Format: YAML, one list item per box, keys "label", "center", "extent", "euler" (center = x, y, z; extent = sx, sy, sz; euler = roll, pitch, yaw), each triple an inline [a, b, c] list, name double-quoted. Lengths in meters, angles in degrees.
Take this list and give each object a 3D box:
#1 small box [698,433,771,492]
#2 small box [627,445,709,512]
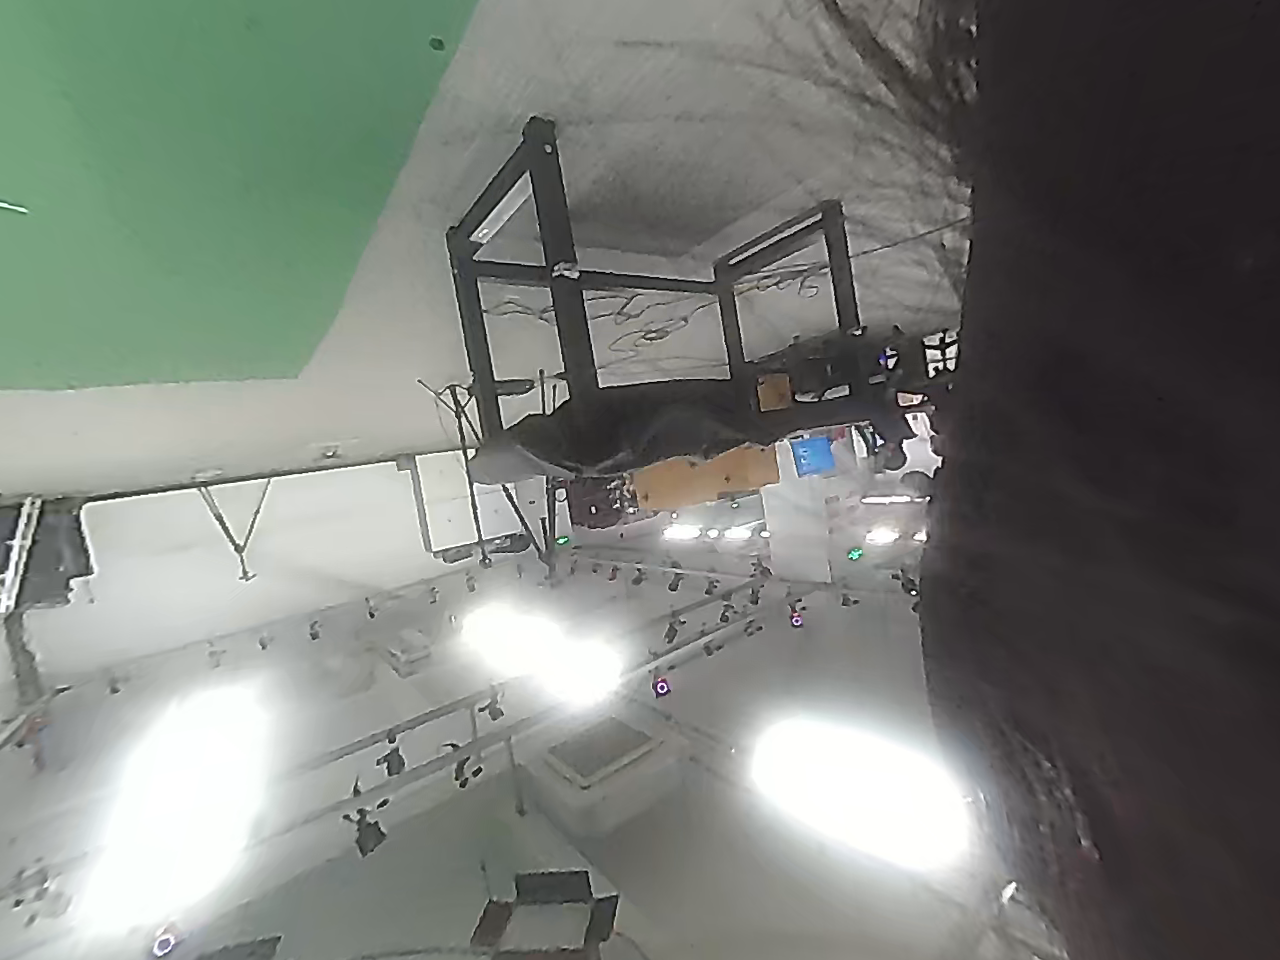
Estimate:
- label: "small box"
  center: [0.303, -0.058, 1.775]
  extent: [0.168, 0.176, 0.179]
  euler: [-12, -177, -40]
- label: "small box"
  center: [0.077, -0.006, 1.588]
  extent: [0.168, 0.176, 0.179]
  euler: [-13, -176, -40]
